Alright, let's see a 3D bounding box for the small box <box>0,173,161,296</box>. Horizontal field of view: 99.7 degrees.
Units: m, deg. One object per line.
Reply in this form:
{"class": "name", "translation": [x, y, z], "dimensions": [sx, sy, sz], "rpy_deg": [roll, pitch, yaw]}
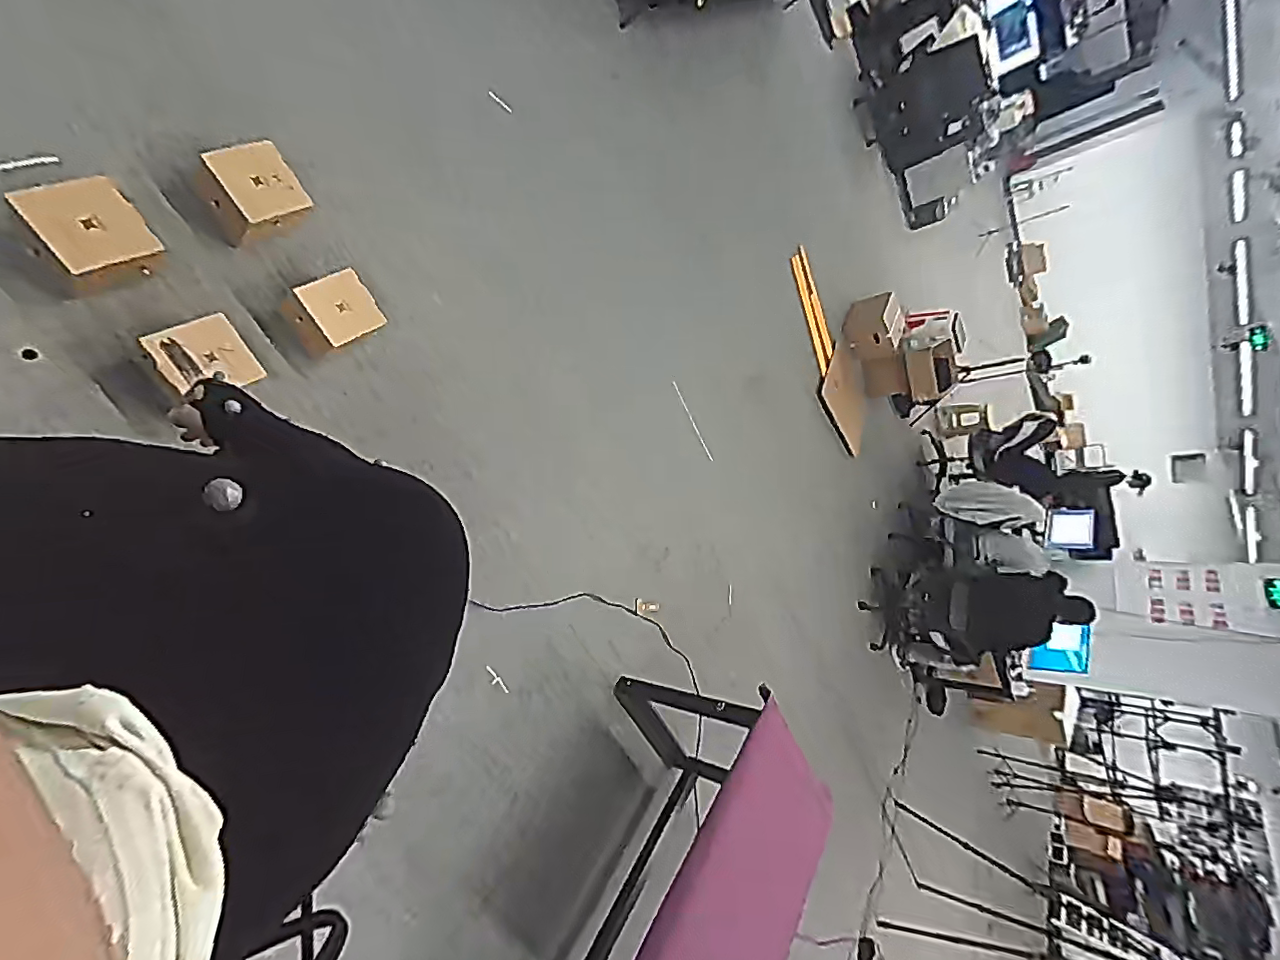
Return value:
{"class": "small box", "translation": [-1.185, -0.518, 1.153], "dimensions": [0.179, 0.176, 0.168], "rpy_deg": [-46, 117, -39]}

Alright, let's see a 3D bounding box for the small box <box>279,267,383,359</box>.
{"class": "small box", "translation": [-0.858, -0.455, 1.491], "dimensions": [0.179, 0.176, 0.168], "rpy_deg": [-48, 119, -39]}

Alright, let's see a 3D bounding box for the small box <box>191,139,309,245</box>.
{"class": "small box", "translation": [-0.994, -0.726, 1.373], "dimensions": [0.179, 0.176, 0.168], "rpy_deg": [-48, 119, -39]}
